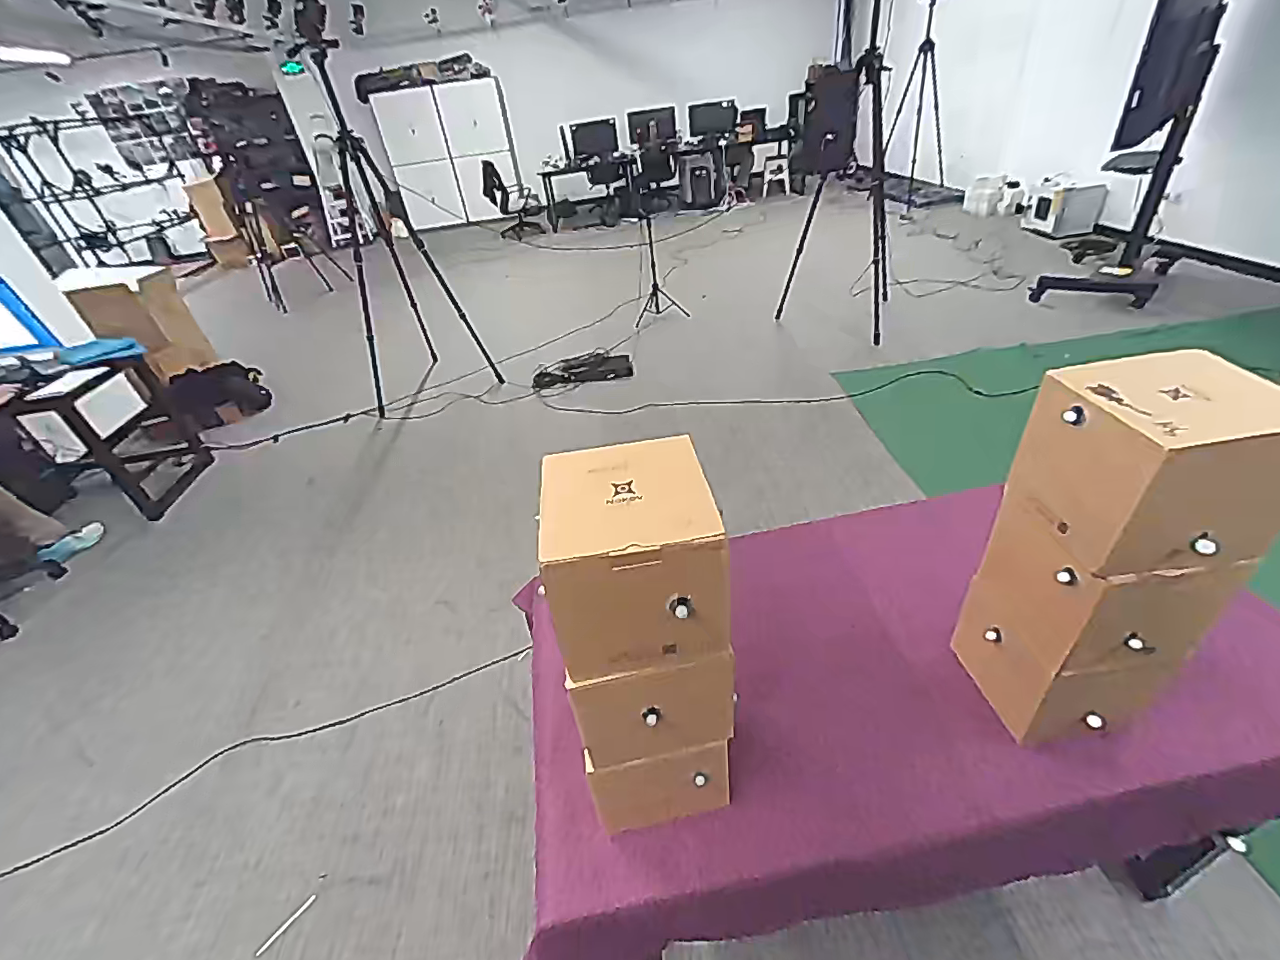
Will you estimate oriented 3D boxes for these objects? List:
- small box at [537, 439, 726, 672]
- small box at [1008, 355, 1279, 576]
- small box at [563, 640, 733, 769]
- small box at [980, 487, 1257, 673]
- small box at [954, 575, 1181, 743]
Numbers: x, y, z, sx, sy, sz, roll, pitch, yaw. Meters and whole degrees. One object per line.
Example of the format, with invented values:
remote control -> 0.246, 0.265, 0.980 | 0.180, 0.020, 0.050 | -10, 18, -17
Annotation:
small box -> -0.007, 0.081, 0.569 | 0.168, 0.176, 0.179 | -8, 35, -3
small box -> 0.551, -0.017, 0.586 | 0.179, 0.176, 0.168 | -7, 36, 0
small box -> 0.006, 0.218, 0.658 | 0.179, 0.176, 0.168 | -12, 36, -5
small box -> 0.572, 0.114, 0.684 | 0.168, 0.176, 0.179 | -9, 37, -1
small box -> 0.590, 0.245, 0.779 | 0.168, 0.176, 0.179 | -10, 36, 0
